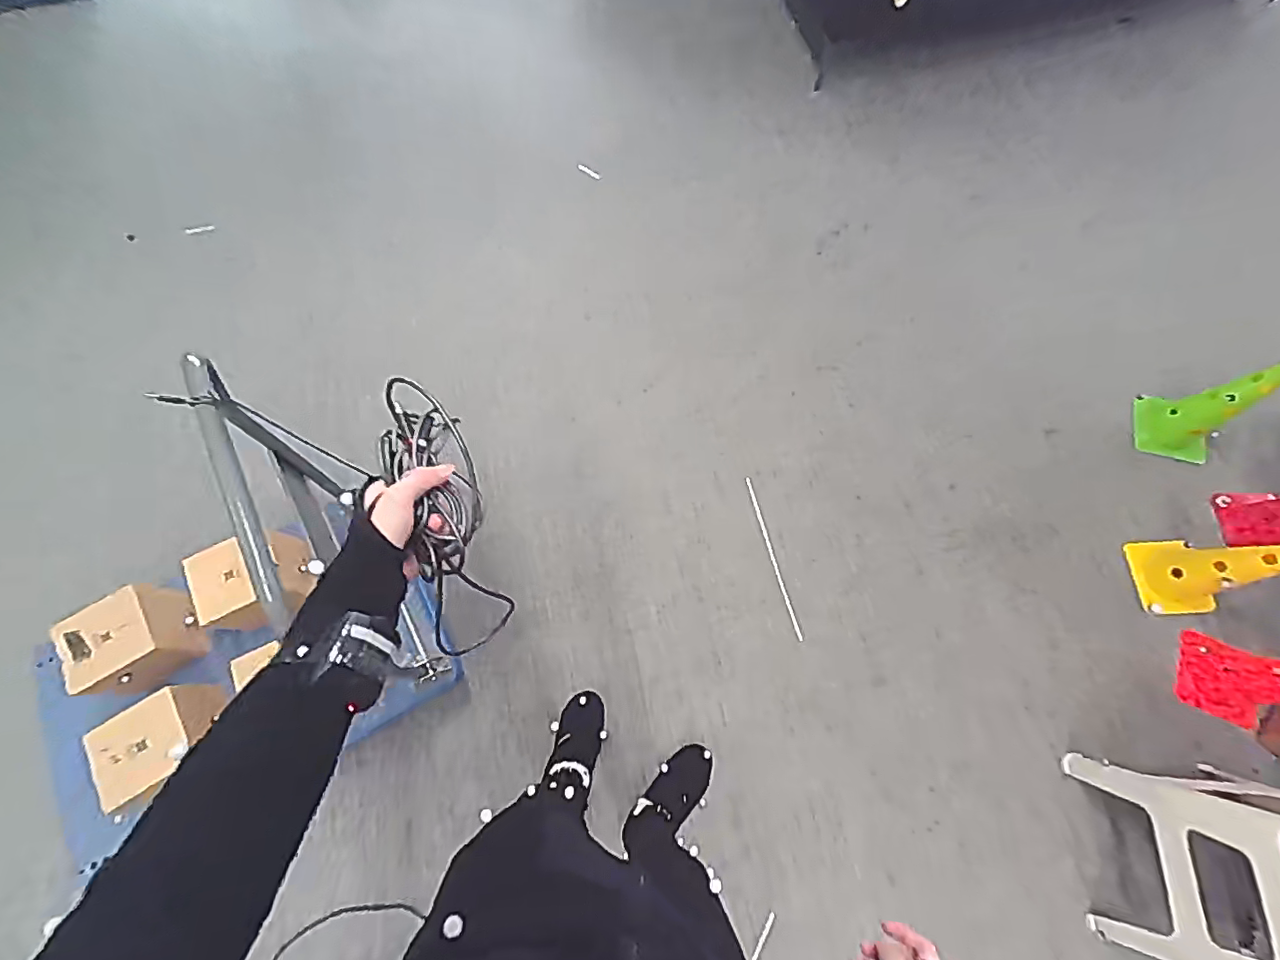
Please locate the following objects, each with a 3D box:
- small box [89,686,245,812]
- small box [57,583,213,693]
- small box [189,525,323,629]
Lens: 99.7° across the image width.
[{"bbox_3d":[-0.984,0.555,1.145,0.179,0.176,0.168,-32,72,-11],"label":"small box"},{"bbox_3d":[-1.124,0.359,1.215,0.179,0.176,0.168,-31,74,-12],"label":"small box"},{"bbox_3d":[-0.889,0.233,1.265,0.179,0.176,0.168,-27,72,-10],"label":"small box"}]
